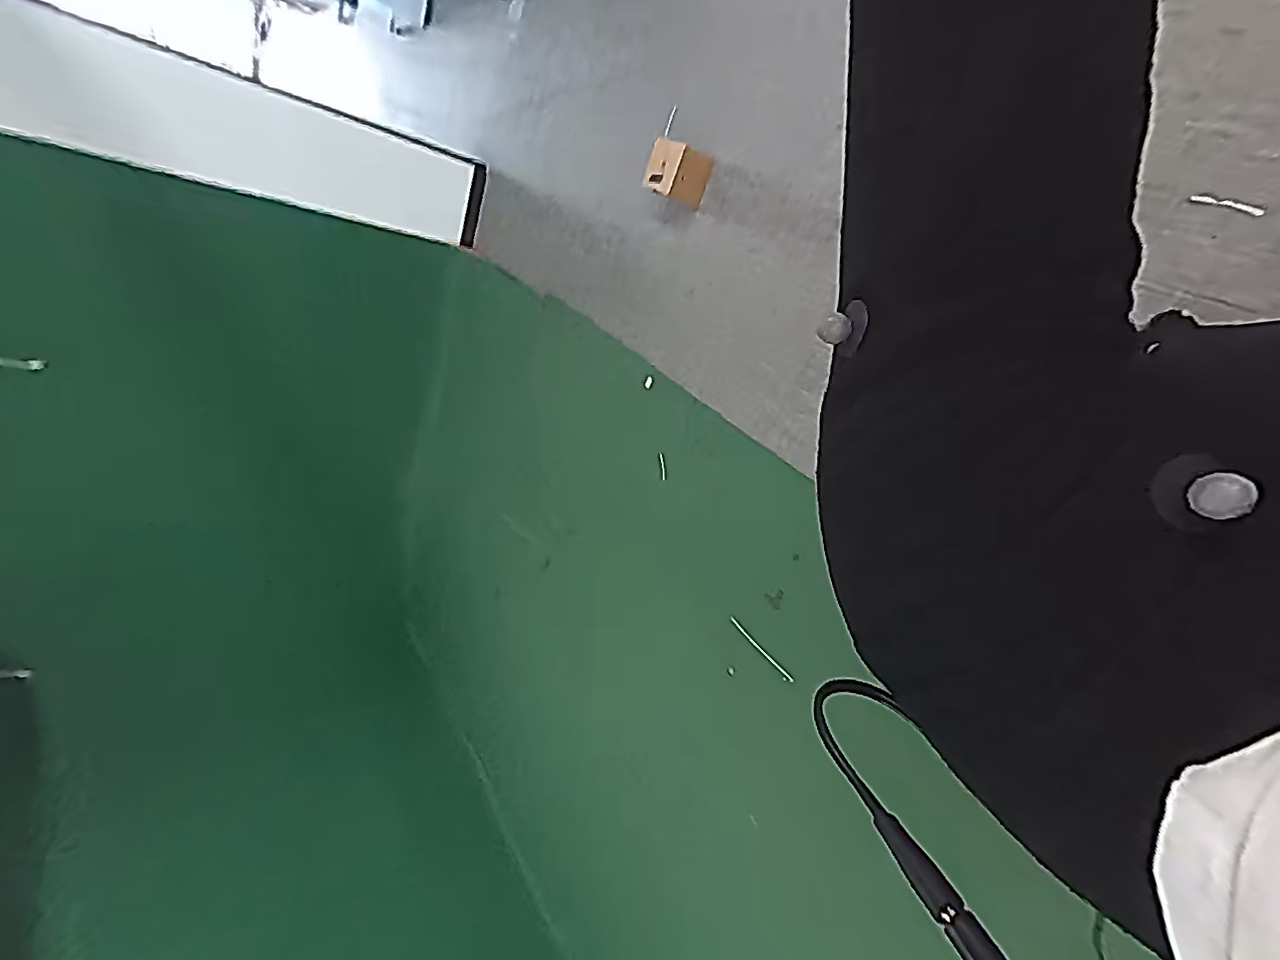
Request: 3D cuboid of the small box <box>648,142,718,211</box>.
[{"bbox_3d":[0.167,-1.152,2.063,0.168,0.176,0.179,42,120,36],"label":"small box"}]
